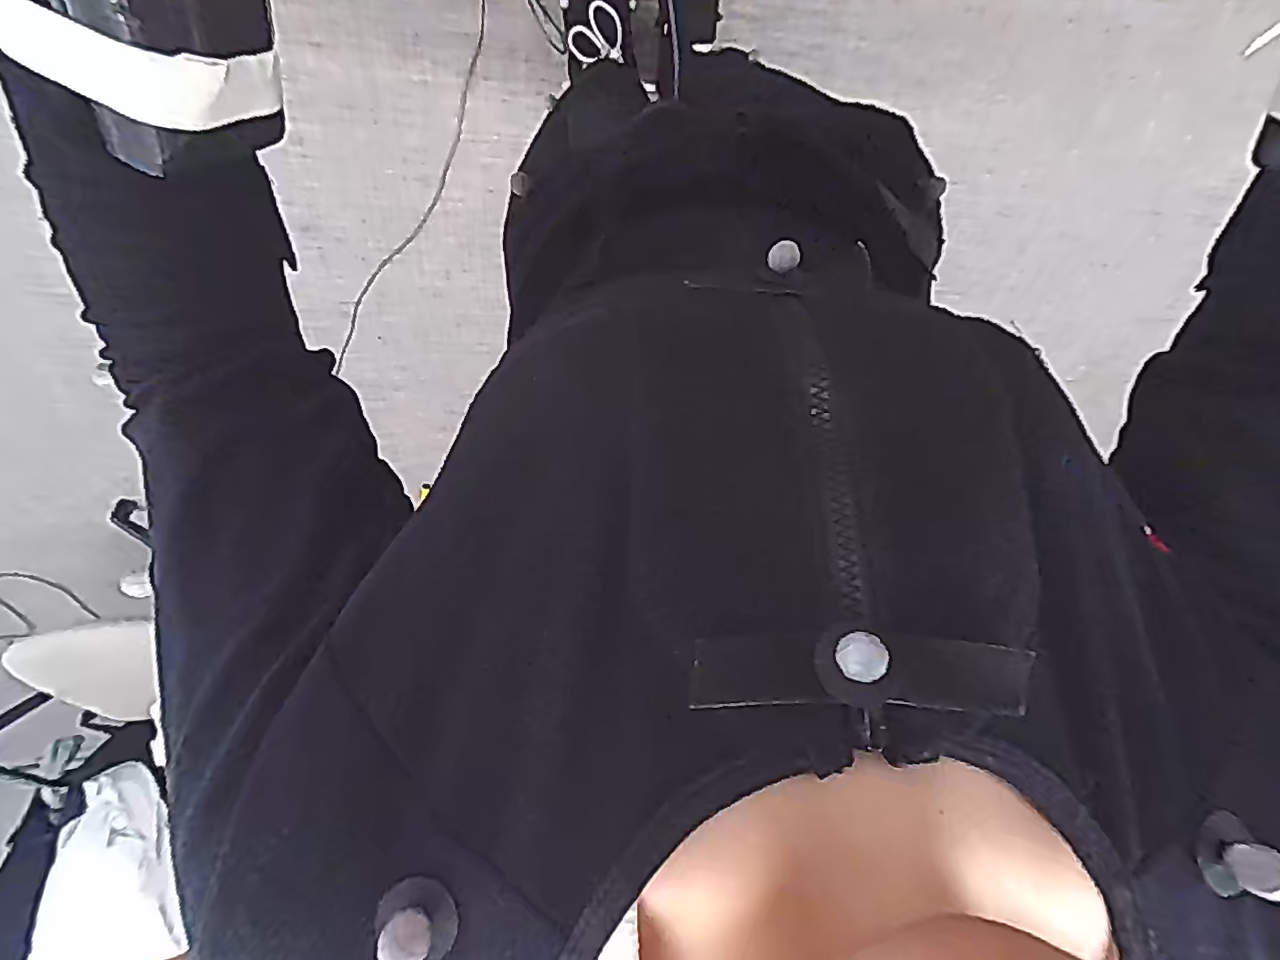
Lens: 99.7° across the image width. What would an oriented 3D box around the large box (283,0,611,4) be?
[{"bbox_3d":[0.054,-0.375,0.105,0.408,0.320,0.320,-3,165,-3],"label":"large box"}]
